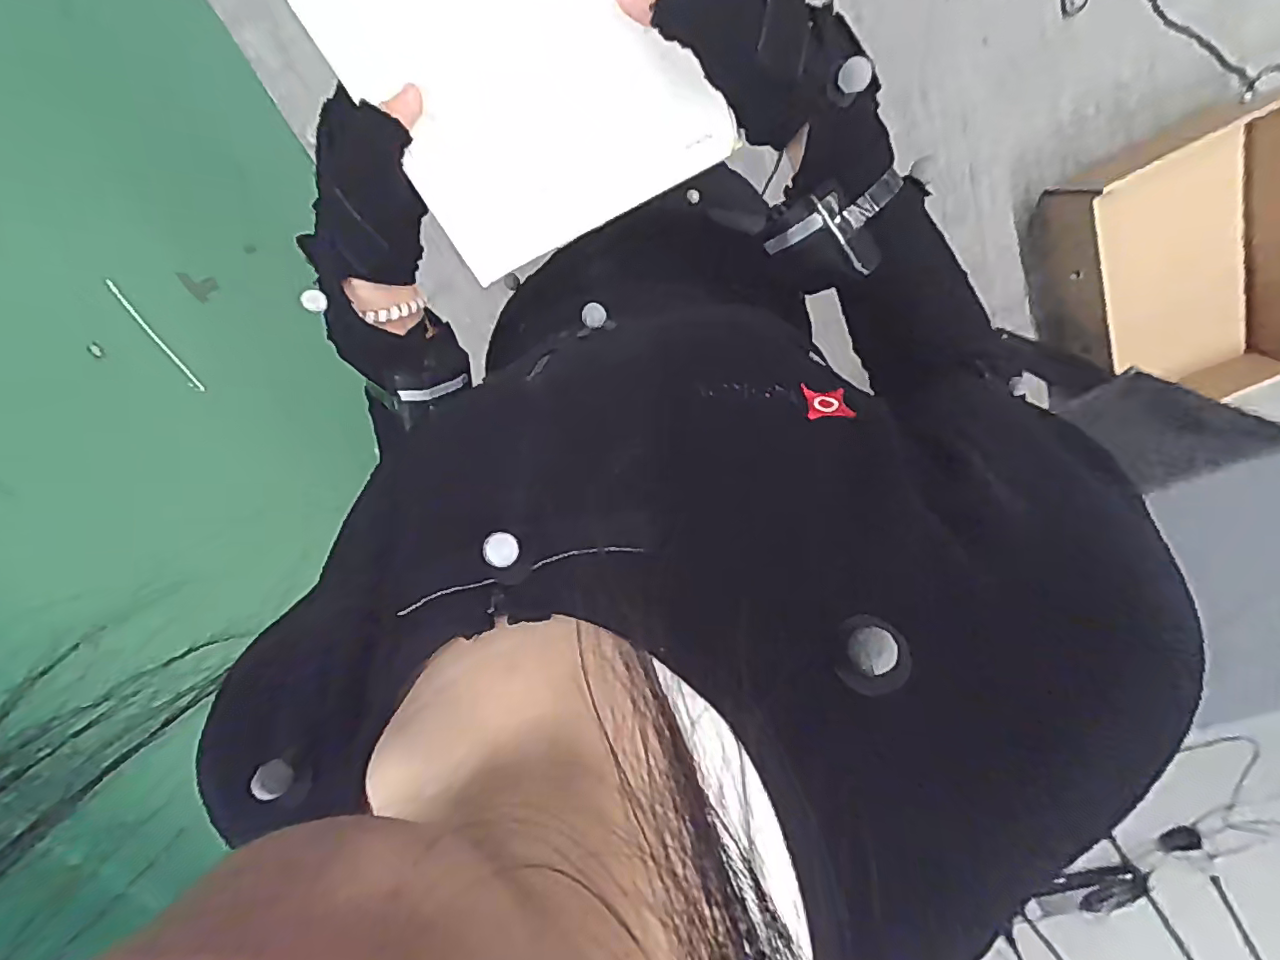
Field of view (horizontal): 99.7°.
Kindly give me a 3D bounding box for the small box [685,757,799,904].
[{"bbox_3d":[0.193,0.677,1.051,0.168,0.176,0.179,-19,116,10],"label":"small box"}]
